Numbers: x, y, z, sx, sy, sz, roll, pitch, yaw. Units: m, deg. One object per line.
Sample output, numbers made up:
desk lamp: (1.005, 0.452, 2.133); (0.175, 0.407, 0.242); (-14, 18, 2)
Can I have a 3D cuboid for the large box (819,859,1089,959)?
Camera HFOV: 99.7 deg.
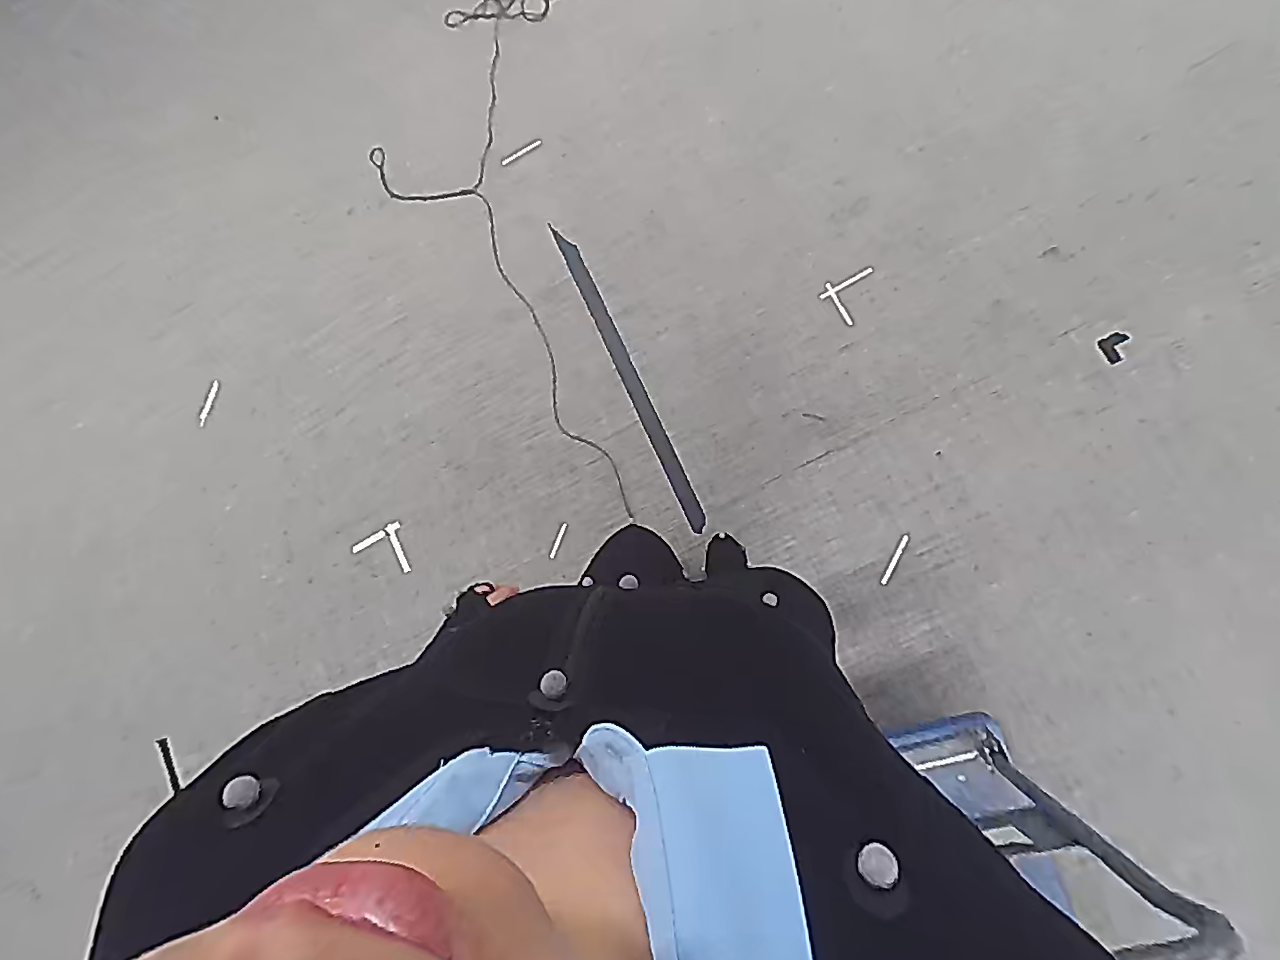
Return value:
large box: (0.598, 0.985, 1.002); (0.408, 0.320, 0.320); (-18, 82, 7)
